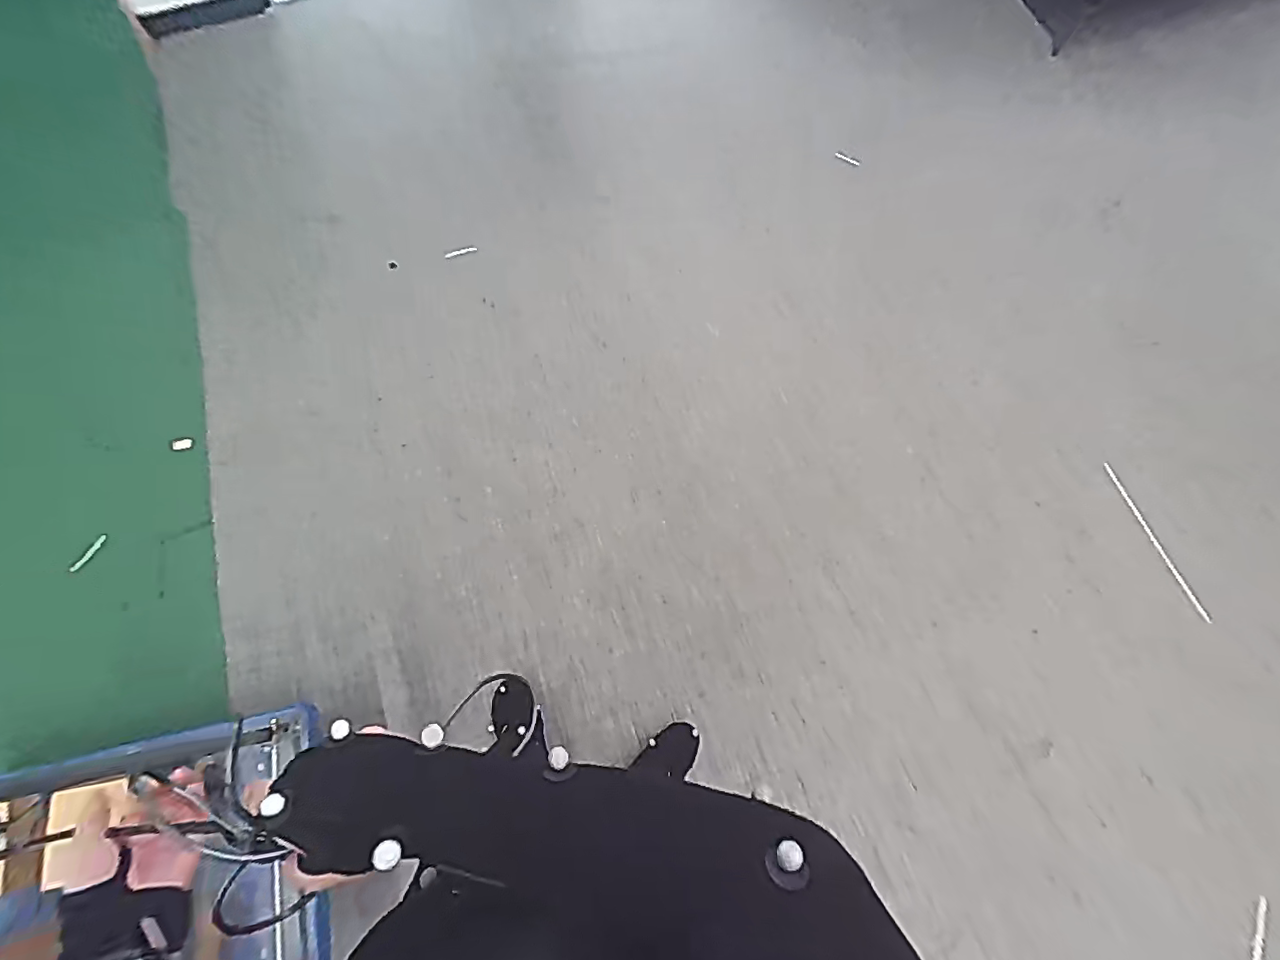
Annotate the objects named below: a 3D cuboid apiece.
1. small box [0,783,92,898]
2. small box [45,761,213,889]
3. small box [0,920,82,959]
[{"bbox_3d":[-1.264,0.734,1.085,0.179,0.176,0.168,-13,73,-5],"label":"small box"},{"bbox_3d":[-1.023,0.689,1.098,0.179,0.176,0.168,-10,73,-3],"label":"small box"},{"bbox_3d":[-1.208,0.971,1.009,0.179,0.176,0.168,-15,72,-4],"label":"small box"}]
